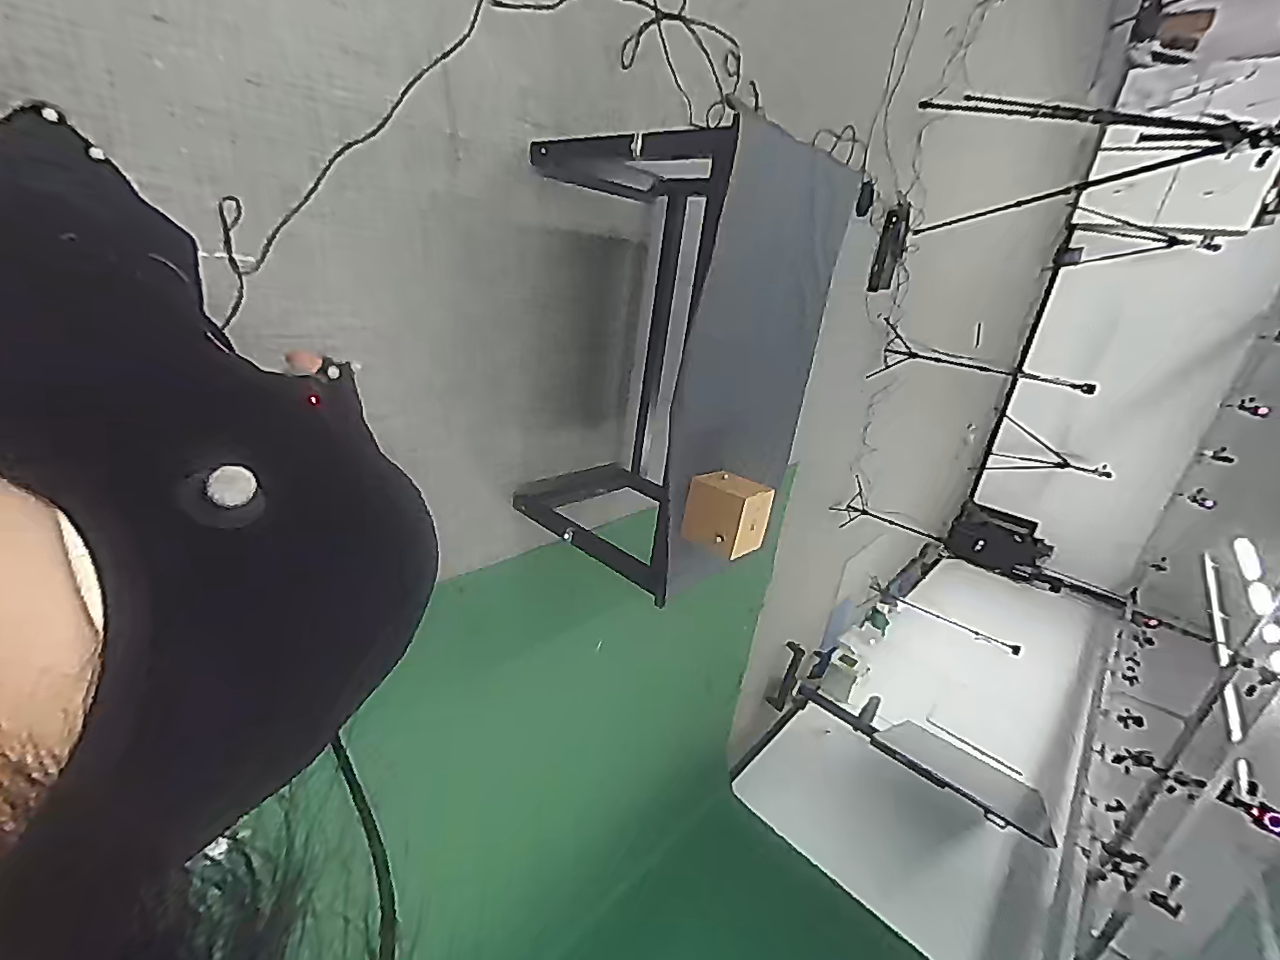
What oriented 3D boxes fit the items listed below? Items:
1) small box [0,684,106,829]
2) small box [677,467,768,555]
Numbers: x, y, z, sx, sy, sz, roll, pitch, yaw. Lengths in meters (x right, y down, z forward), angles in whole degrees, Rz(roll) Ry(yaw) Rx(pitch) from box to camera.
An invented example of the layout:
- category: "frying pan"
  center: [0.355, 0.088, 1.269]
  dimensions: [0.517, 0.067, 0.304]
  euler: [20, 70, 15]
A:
- category: "small box"
  center: [-1.223, 0.558, 1.110]
  dimensions: [0.168, 0.176, 0.179]
  euler: [-5, 112, -50]
- category: "small box"
  center: [0.219, 0.079, 1.464]
  dimensions: [0.168, 0.176, 0.179]
  euler: [-11, 117, -50]
